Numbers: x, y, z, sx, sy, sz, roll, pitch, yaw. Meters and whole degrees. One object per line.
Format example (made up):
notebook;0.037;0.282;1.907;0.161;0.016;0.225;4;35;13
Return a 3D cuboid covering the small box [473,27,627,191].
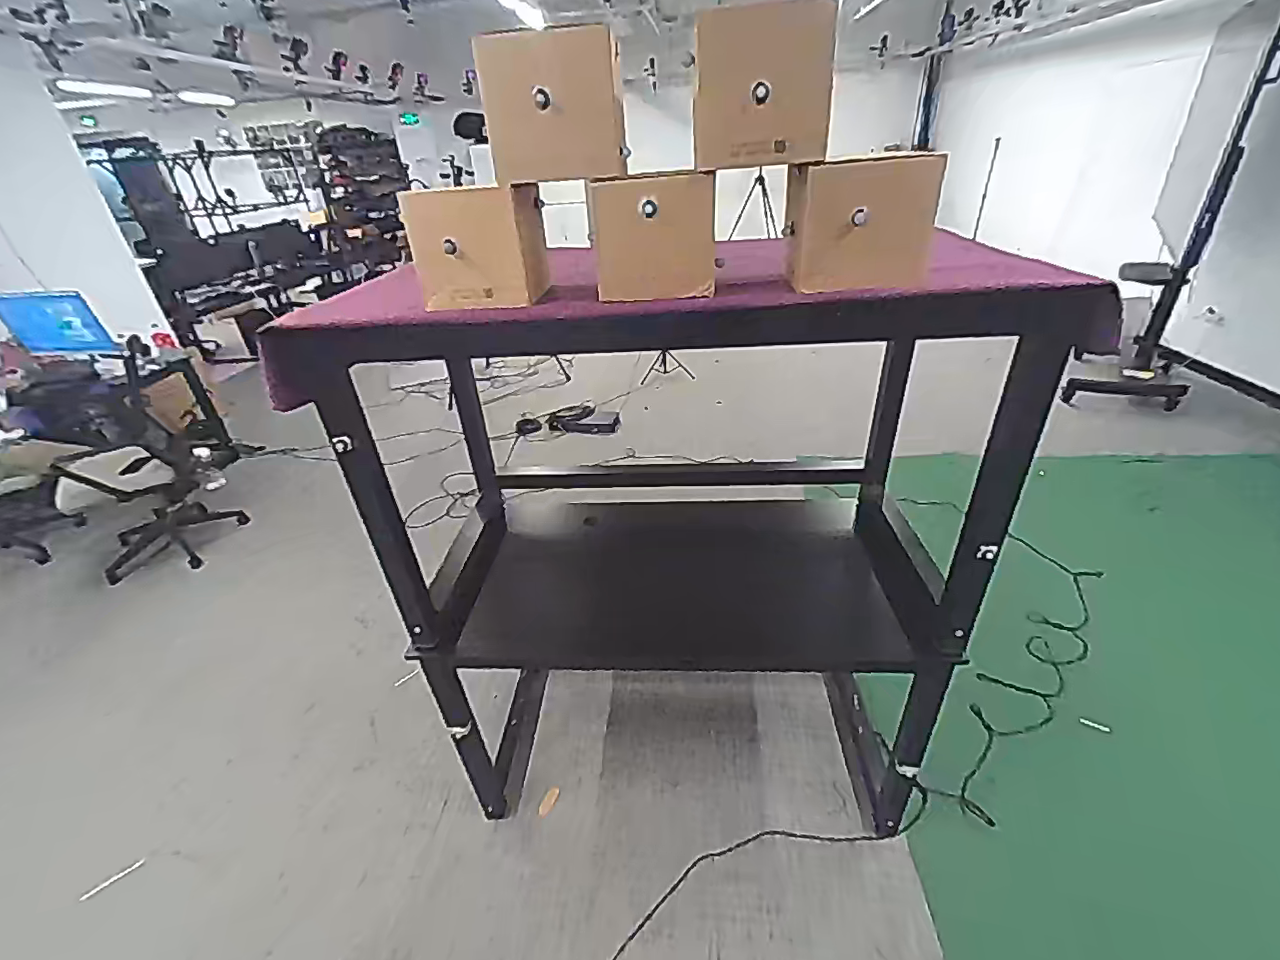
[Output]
small box;-0.113;-0.518;0.772;0.179;0.176;0.168;-2;30;4

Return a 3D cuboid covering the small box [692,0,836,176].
small box;0.158;-0.519;0.737;0.168;0.176;0.179;-2;31;5

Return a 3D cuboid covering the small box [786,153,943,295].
small box;0.317;-0.380;0.805;0.179;0.176;0.168;-3;32;6

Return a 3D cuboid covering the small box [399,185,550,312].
small box;-0.246;-0.368;0.860;0.168;0.176;0.179;-1;30;4

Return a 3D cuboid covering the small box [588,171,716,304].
small box;0.027;-0.375;0.836;0.179;0.176;0.168;0;31;6
